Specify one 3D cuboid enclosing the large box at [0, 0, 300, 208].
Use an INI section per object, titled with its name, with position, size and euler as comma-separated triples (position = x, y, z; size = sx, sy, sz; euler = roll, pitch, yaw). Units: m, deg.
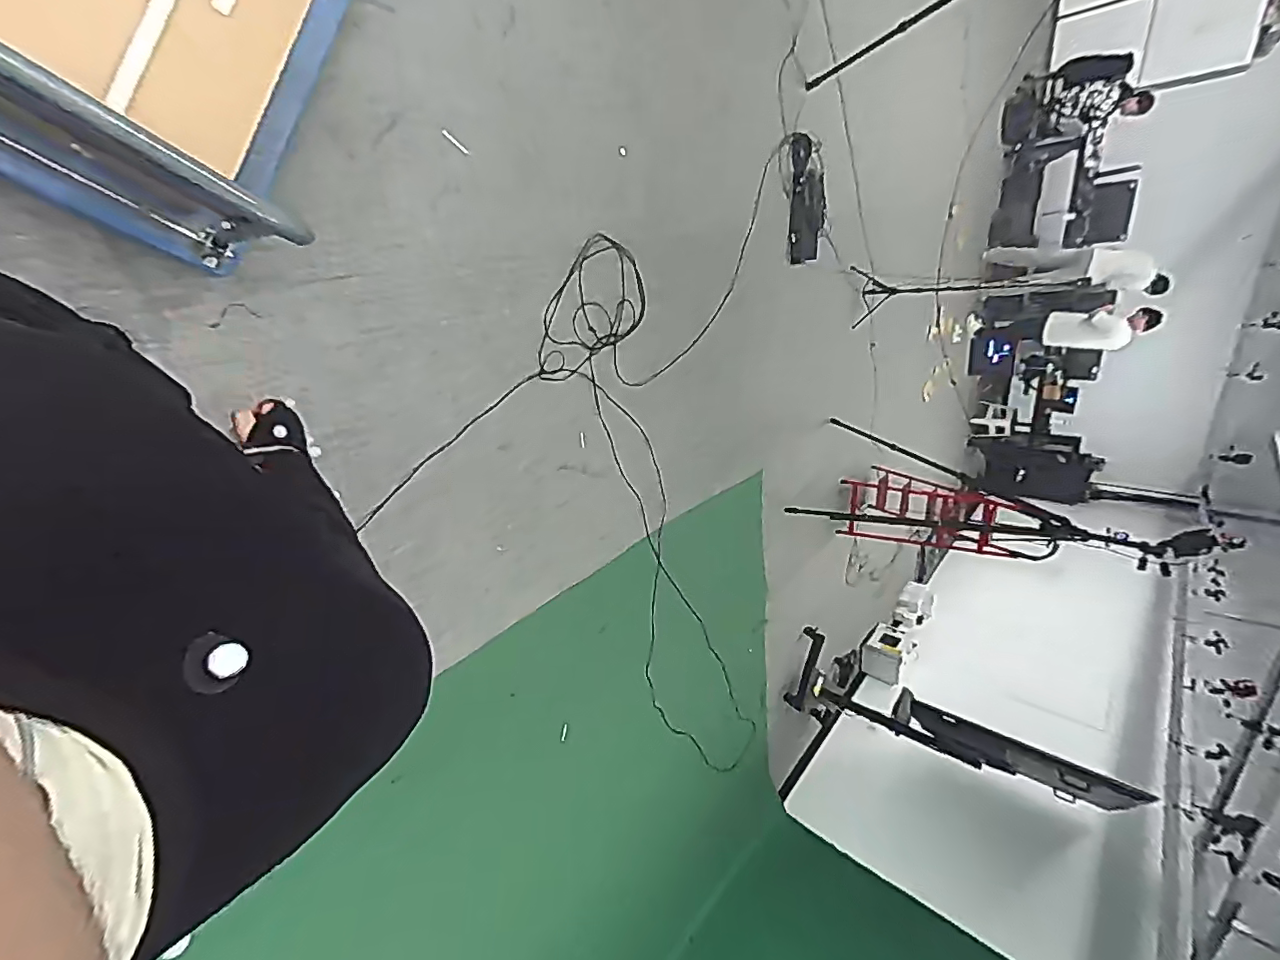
[large box]
position = -0.846, -0.754, 0.915
size = 0.320, 0.320, 0.408
euler = 25, 81, -50
